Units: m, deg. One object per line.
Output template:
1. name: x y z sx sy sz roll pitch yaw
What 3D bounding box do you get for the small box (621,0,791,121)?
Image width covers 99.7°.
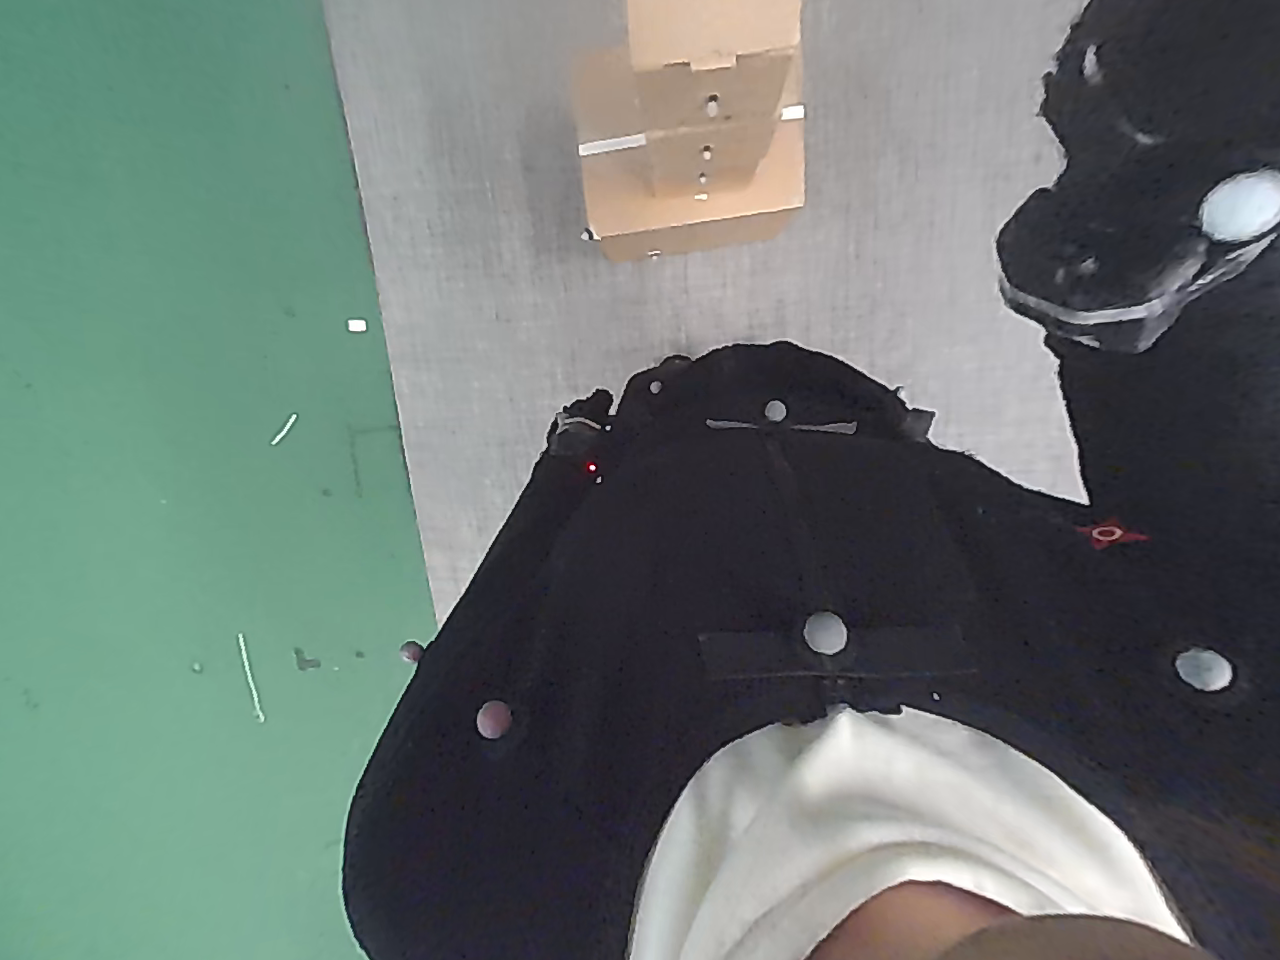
1. small box: 0.071 -0.514 0.586 0.168 0.176 0.179 -1 105 7

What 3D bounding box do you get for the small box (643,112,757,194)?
1. small box: 0.098 -0.592 0.903 0.179 0.176 0.168 -4 105 6

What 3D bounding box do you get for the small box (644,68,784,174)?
1. small box: 0.090 -0.546 0.746 0.179 0.176 0.168 -8 104 7
